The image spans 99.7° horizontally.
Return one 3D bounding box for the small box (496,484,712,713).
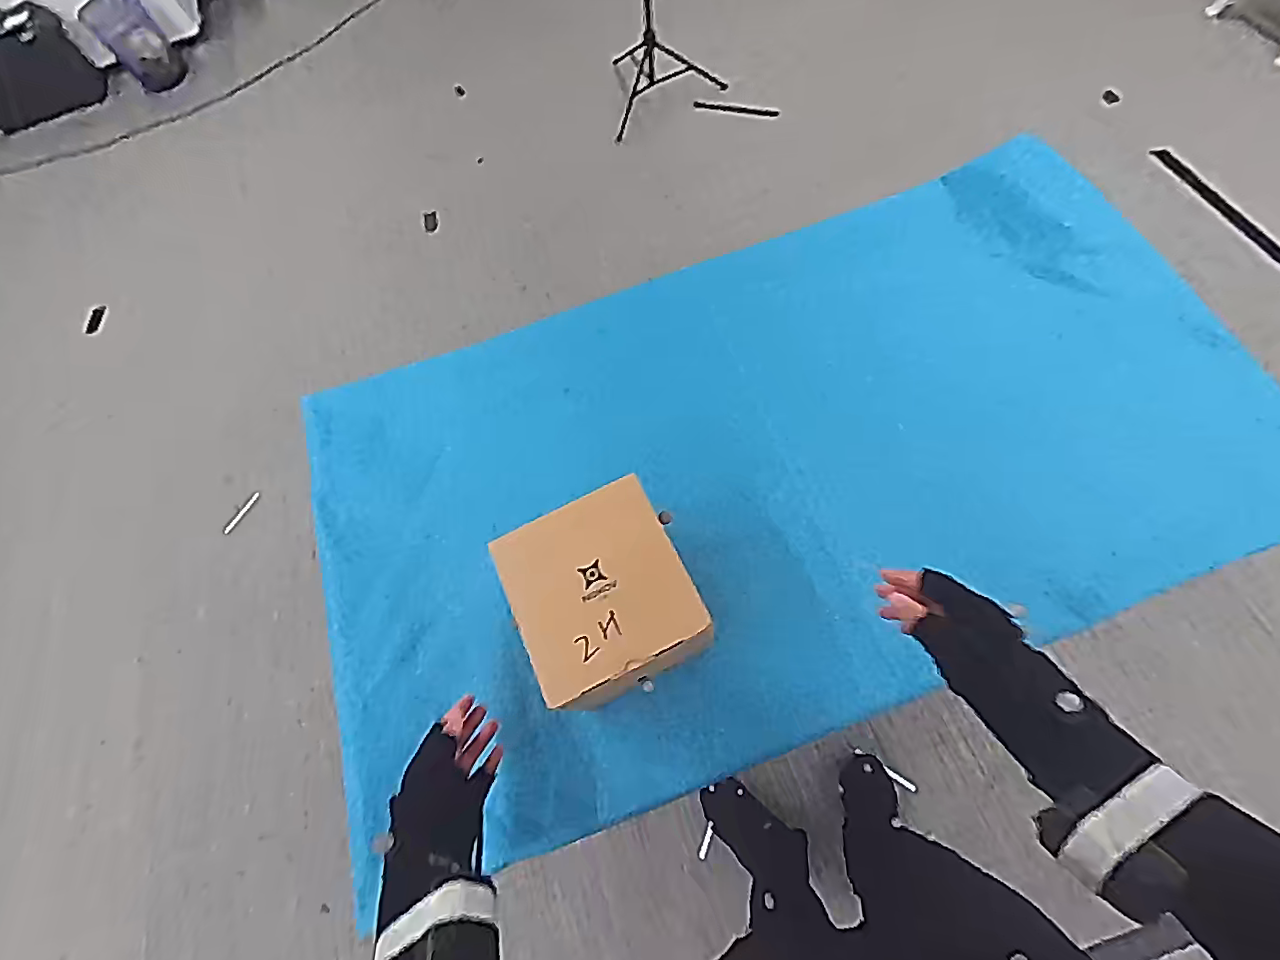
[{"bbox_3d":[-0.032,0.135,0.590,0.168,0.176,0.179,-24,69,-2],"label":"small box"}]
